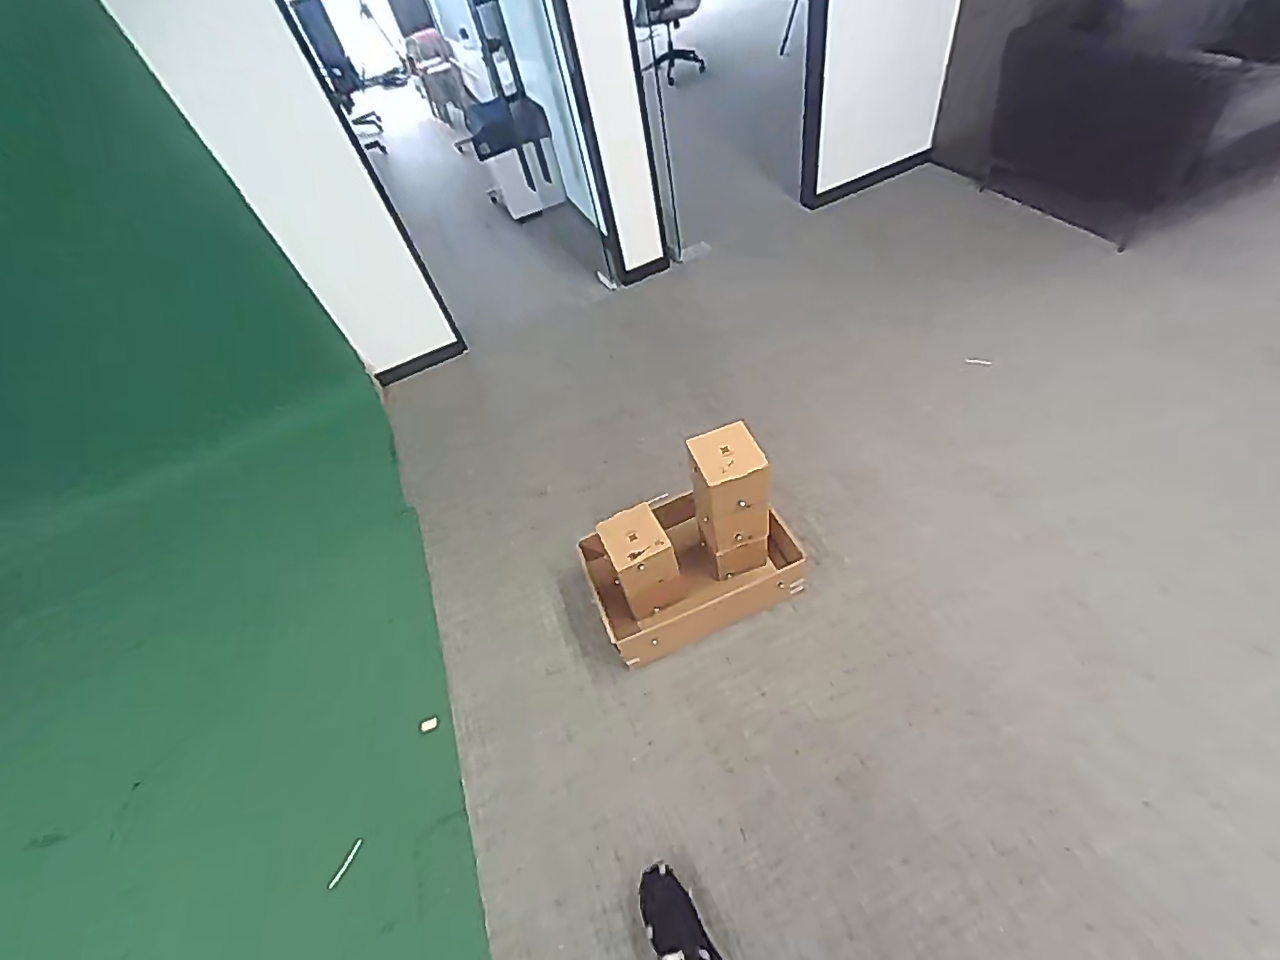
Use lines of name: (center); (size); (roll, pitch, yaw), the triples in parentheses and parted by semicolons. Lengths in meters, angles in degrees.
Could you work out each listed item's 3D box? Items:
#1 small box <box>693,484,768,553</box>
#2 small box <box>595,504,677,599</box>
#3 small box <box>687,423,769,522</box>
small box: (0.262, 0.083, 1.589); (0.168, 0.176, 0.179); (-19, 51, -4)
small box: (-0.009, 0.206, 1.549); (0.168, 0.176, 0.179); (-26, 50, -7)
small box: (0.235, -0.017, 1.460); (0.168, 0.176, 0.179); (-20, 51, -3)
